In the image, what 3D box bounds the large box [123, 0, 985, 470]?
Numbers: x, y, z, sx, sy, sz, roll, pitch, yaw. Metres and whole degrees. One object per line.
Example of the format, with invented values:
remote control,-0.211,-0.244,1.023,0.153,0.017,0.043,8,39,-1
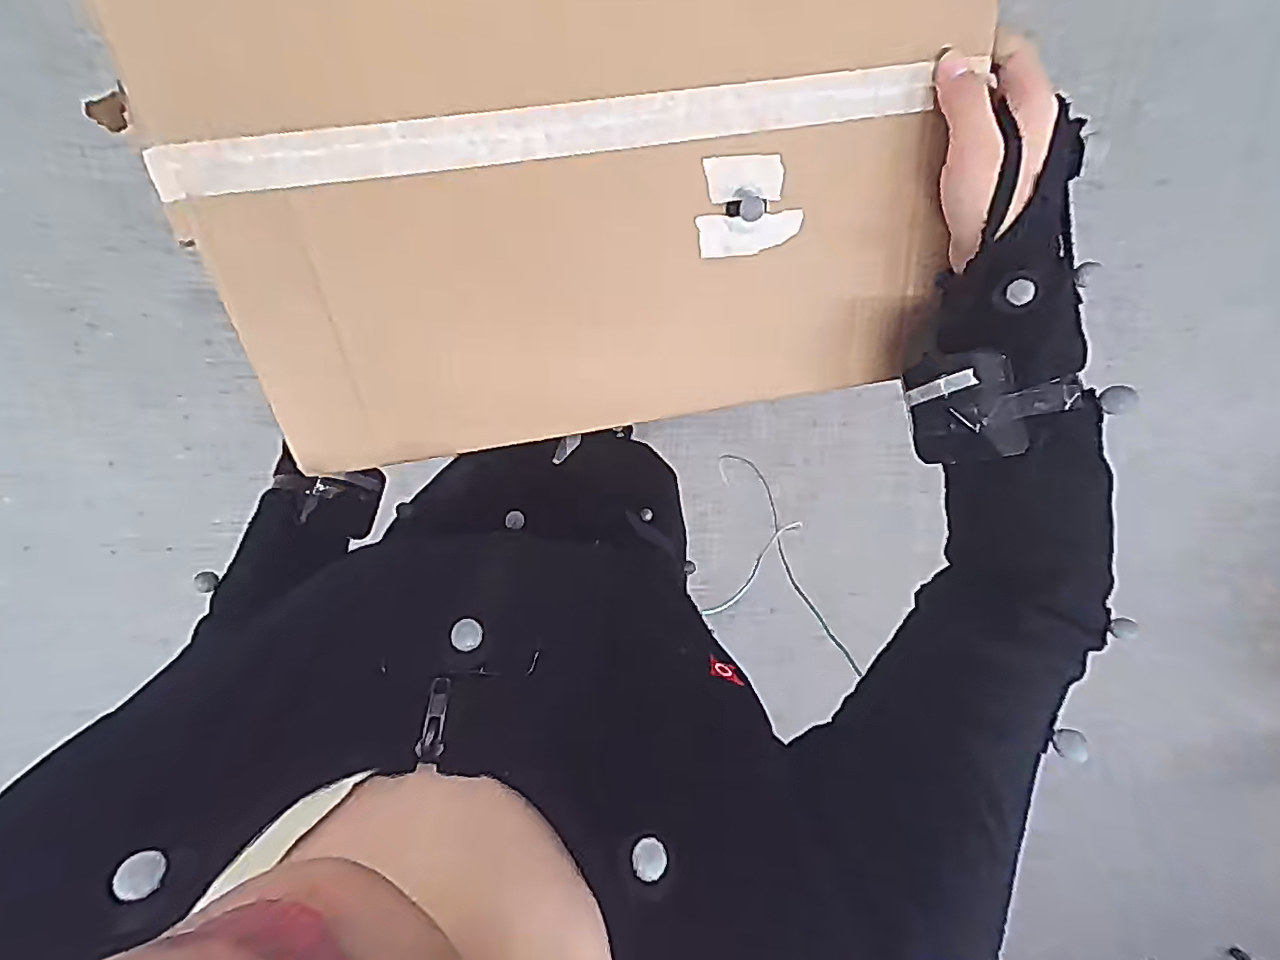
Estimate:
large box,-0.042,-0.241,0.406,0.408,0.320,0.320,-11,118,-7
